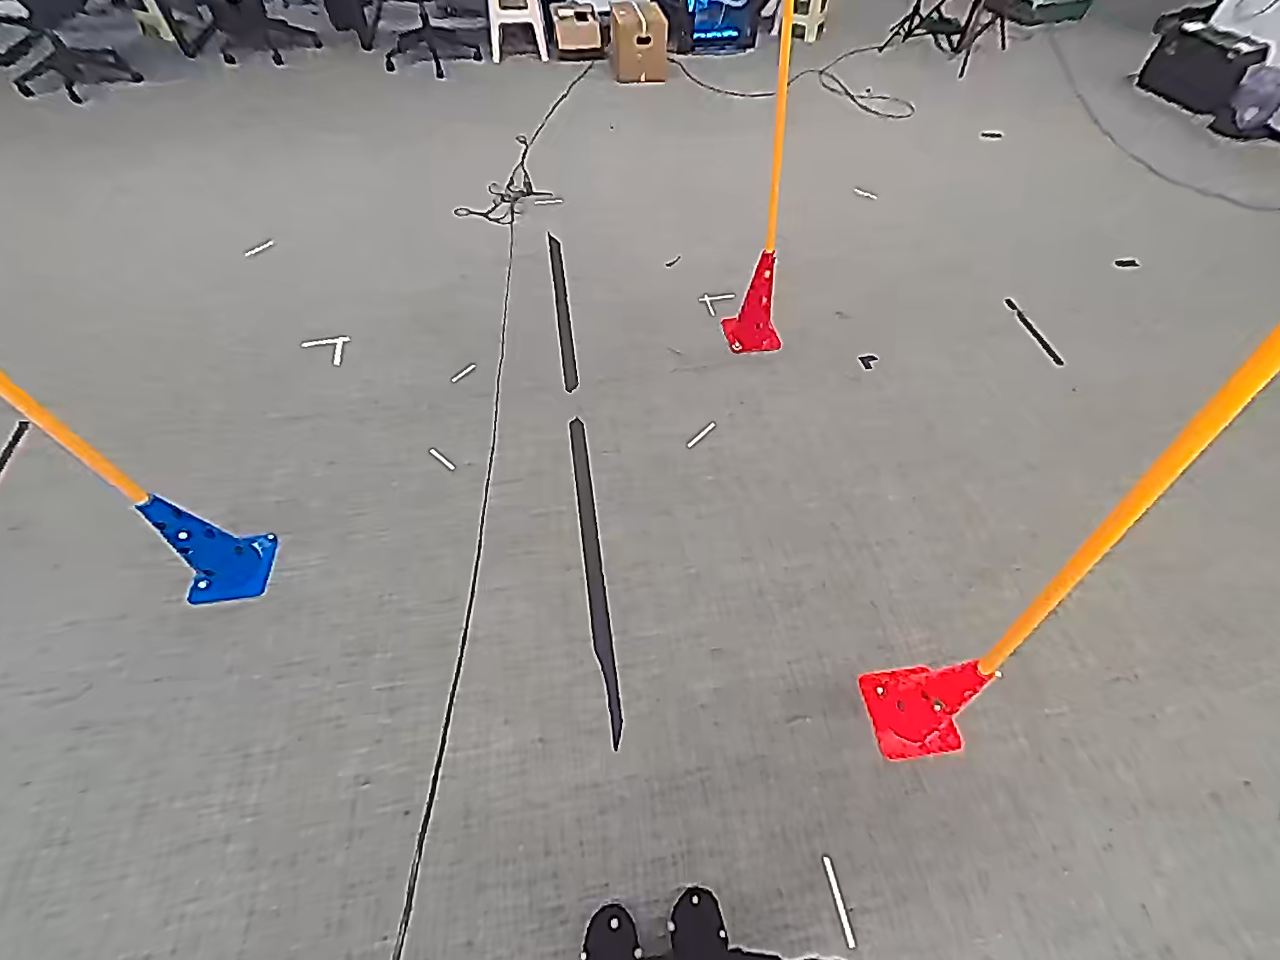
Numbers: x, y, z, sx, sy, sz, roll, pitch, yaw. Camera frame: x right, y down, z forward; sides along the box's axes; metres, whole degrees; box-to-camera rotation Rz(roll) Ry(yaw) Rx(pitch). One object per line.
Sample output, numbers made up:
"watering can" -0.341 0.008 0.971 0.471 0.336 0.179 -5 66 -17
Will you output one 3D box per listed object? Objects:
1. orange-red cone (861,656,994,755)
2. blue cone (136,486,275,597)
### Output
"orange-red cone" 0.656 0.456 1.173 0.198 0.360 0.199 -5 56 -4
"blue cone" -1.150 0.145 1.400 0.193 0.380 0.192 -5 55 -4
